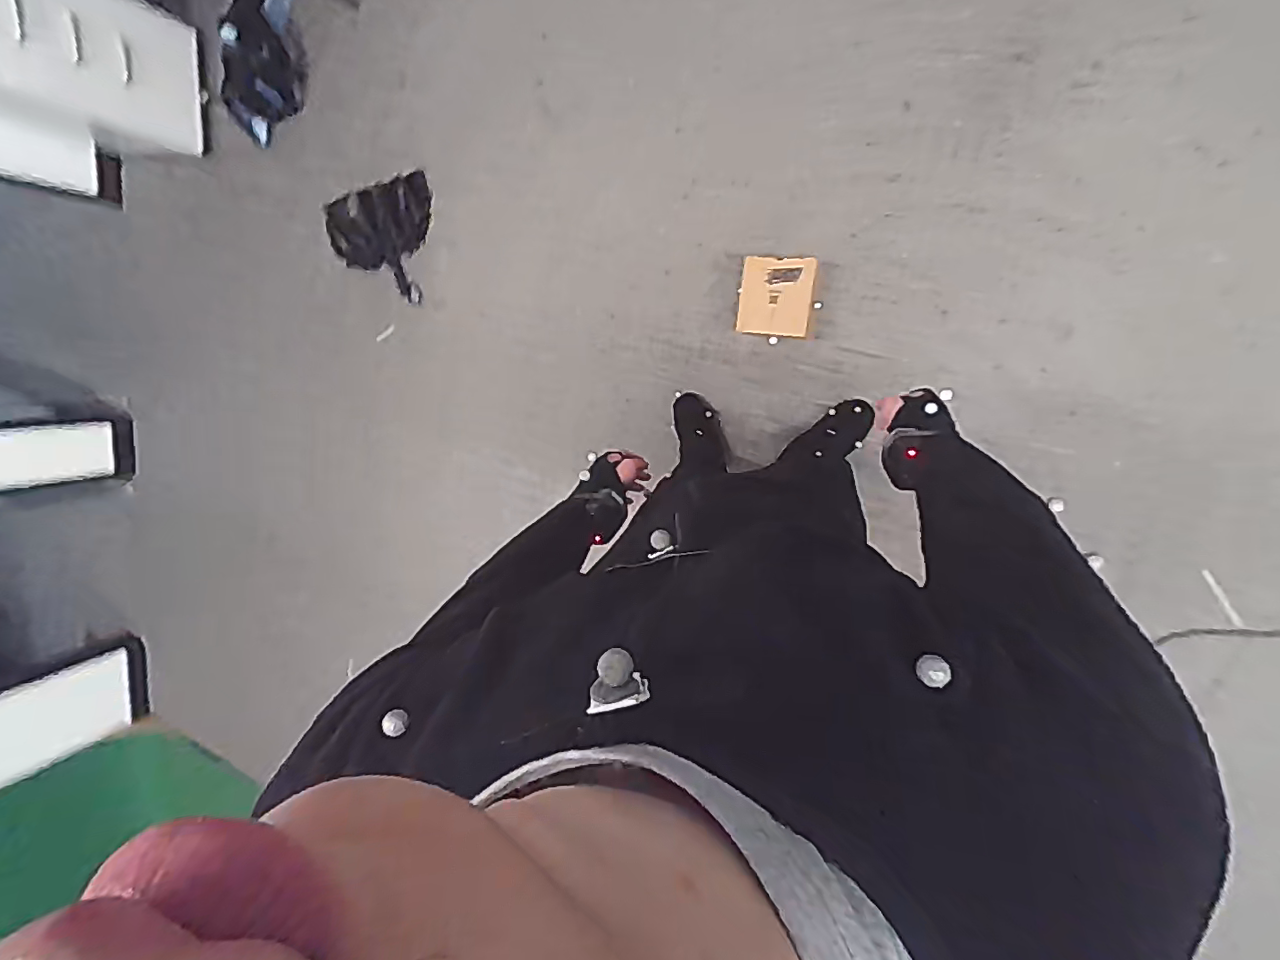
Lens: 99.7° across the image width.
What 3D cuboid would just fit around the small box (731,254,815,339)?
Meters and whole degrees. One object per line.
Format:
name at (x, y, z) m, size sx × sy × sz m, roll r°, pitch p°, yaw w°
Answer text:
small box at (0.334, -0.450, 1.342) m, size 0.168 × 0.176 × 0.179 m, roll 11°, pitch 105°, yaw 20°
